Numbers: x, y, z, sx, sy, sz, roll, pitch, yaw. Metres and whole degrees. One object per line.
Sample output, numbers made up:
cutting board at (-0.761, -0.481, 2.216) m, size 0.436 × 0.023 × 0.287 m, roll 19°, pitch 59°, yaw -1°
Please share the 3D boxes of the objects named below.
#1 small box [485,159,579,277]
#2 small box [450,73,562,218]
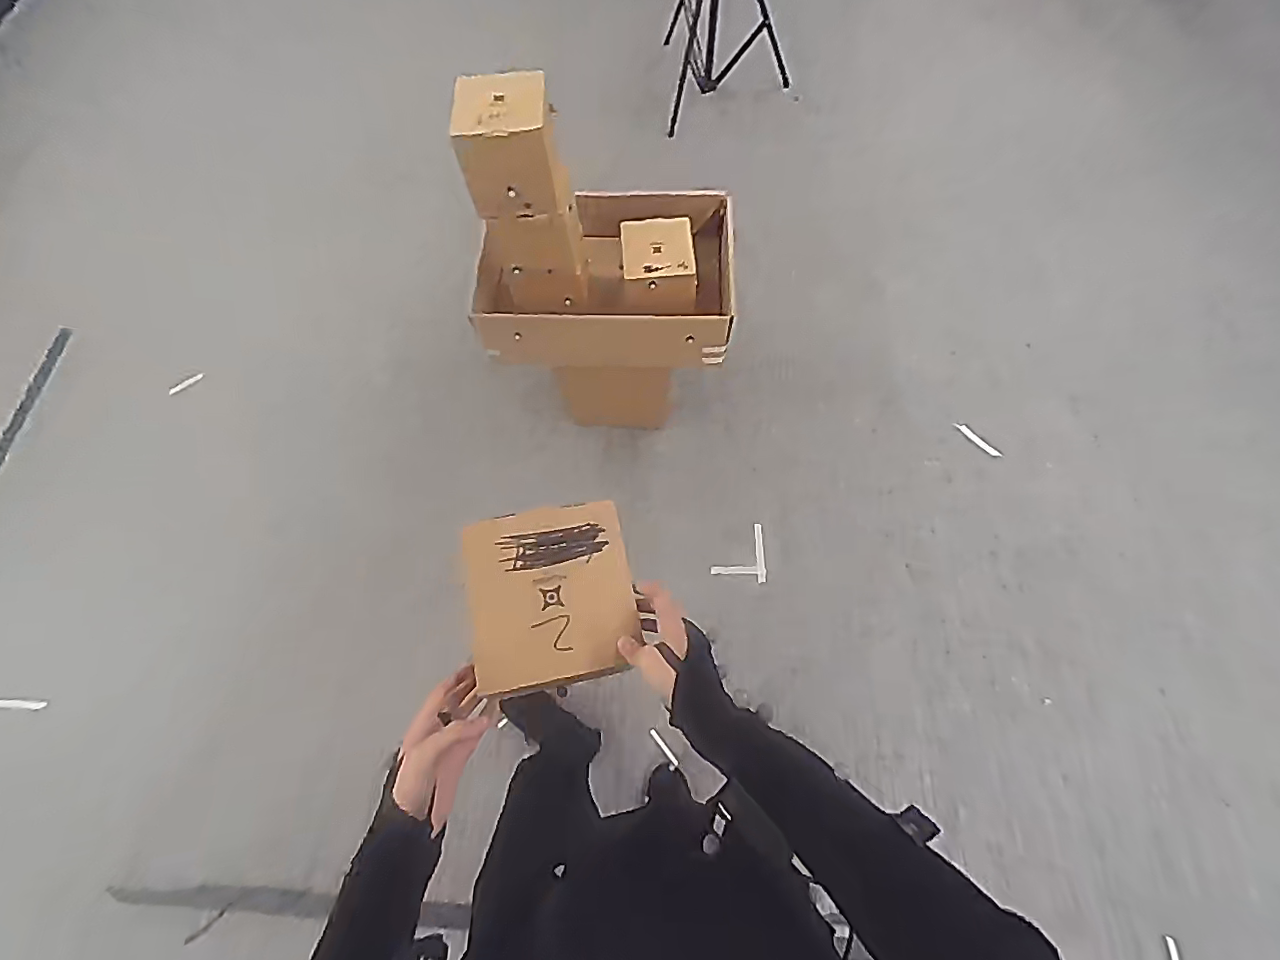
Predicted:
small box at (-0.227, -0.566, 1.188) m, size 0.168 × 0.176 × 0.179 m, roll -2°, pitch 66°, yaw 2°
small box at (-0.247, -0.637, 1.039) m, size 0.168 × 0.176 × 0.179 m, roll -4°, pitch 66°, yaw 1°
